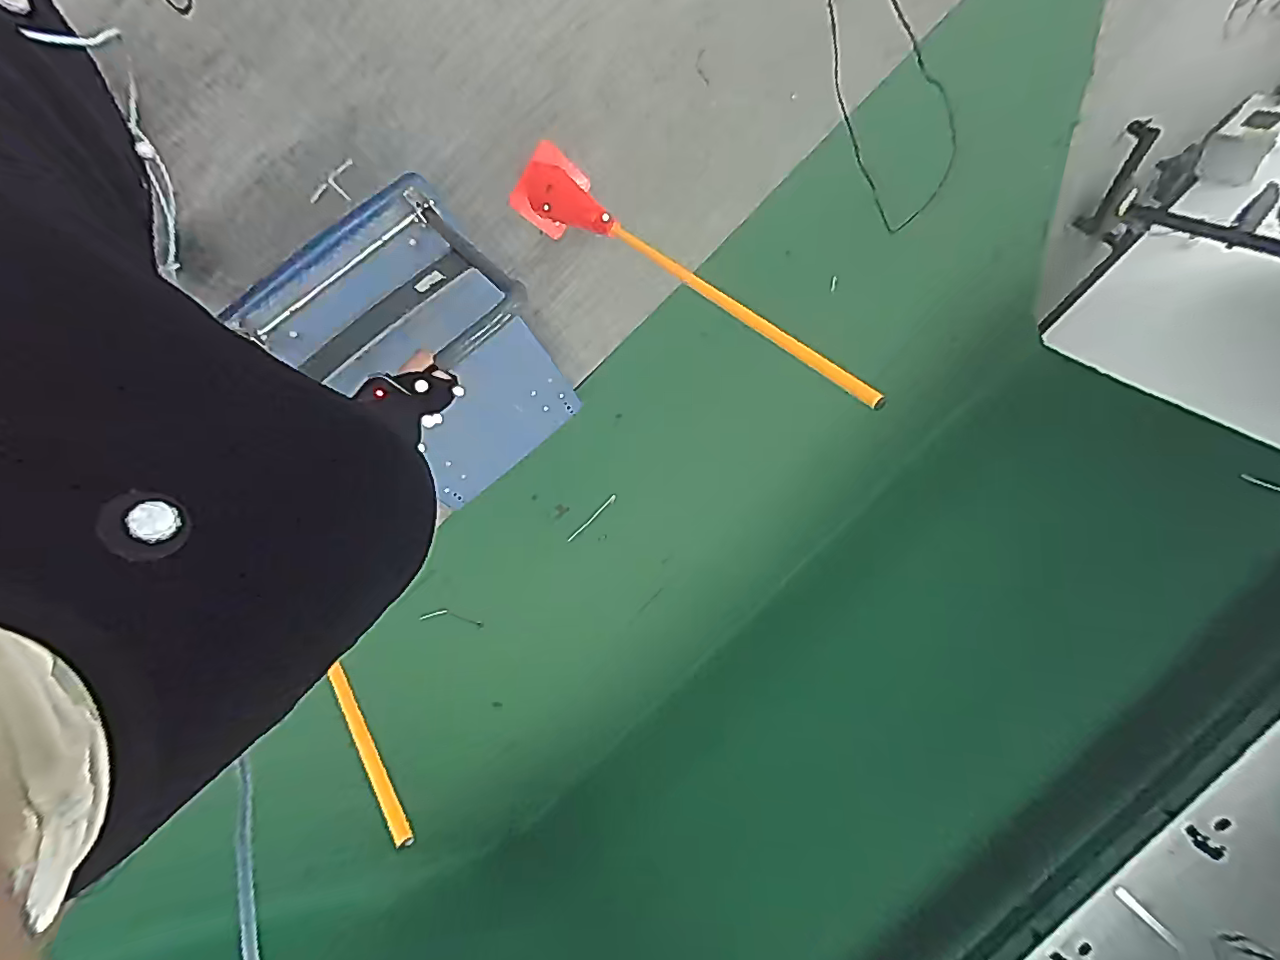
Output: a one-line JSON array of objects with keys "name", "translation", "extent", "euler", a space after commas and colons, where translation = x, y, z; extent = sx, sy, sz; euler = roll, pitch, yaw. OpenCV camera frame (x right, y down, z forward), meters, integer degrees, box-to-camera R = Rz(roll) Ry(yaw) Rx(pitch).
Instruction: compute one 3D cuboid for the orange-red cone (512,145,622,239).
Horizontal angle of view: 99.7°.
[{"name": "orange-red cone", "translation": [-0.160, -0.730, 1.466], "extent": [0.198, 0.360, 0.199], "euler": [20, 110, -51]}]
